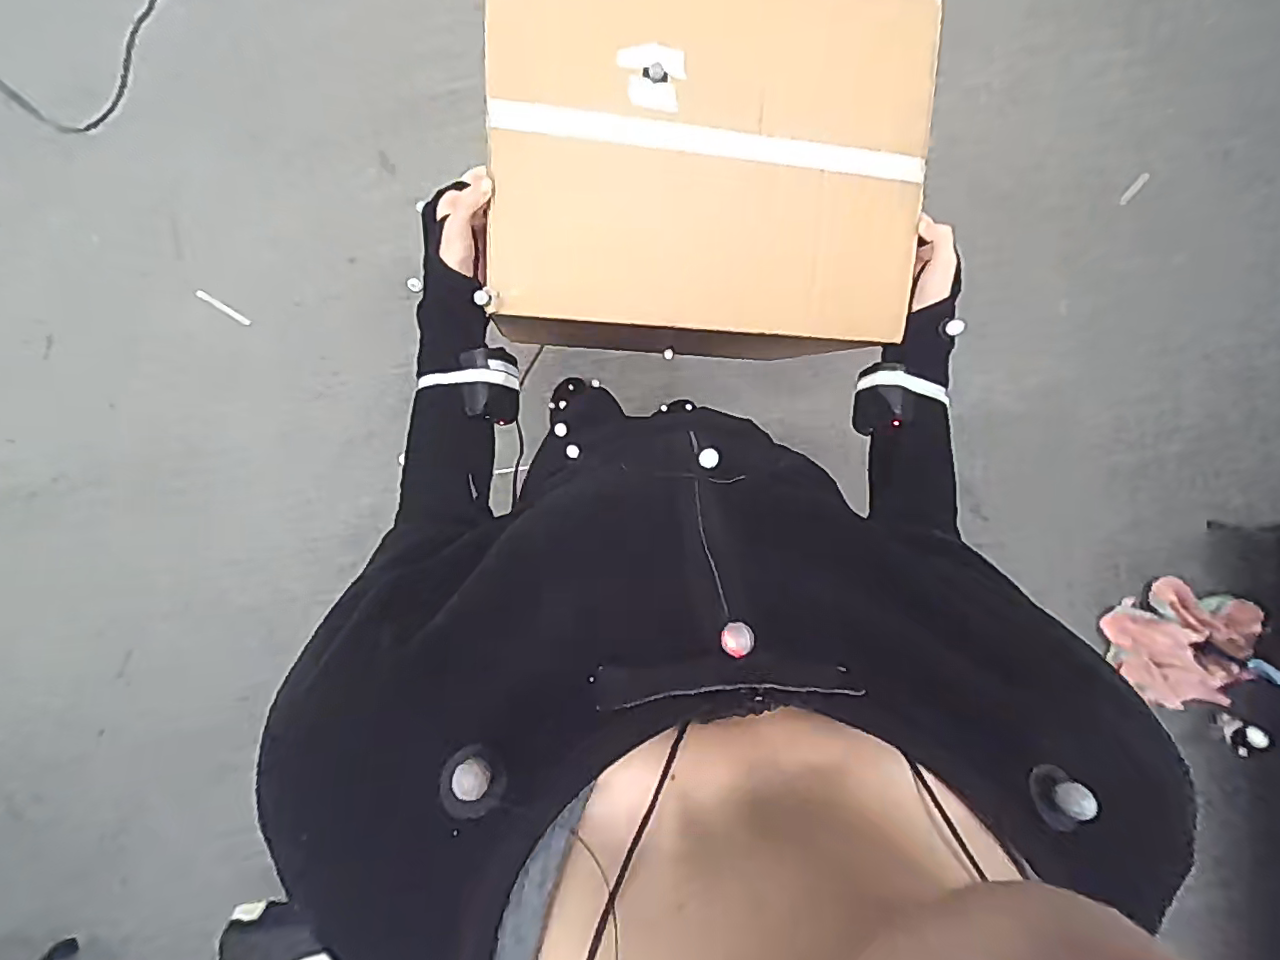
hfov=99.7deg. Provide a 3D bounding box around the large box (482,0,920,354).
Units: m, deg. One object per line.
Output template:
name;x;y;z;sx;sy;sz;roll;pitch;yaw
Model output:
large box;0.040;-0.317;0.641;0.408;0.320;0.320;0;99;-10
